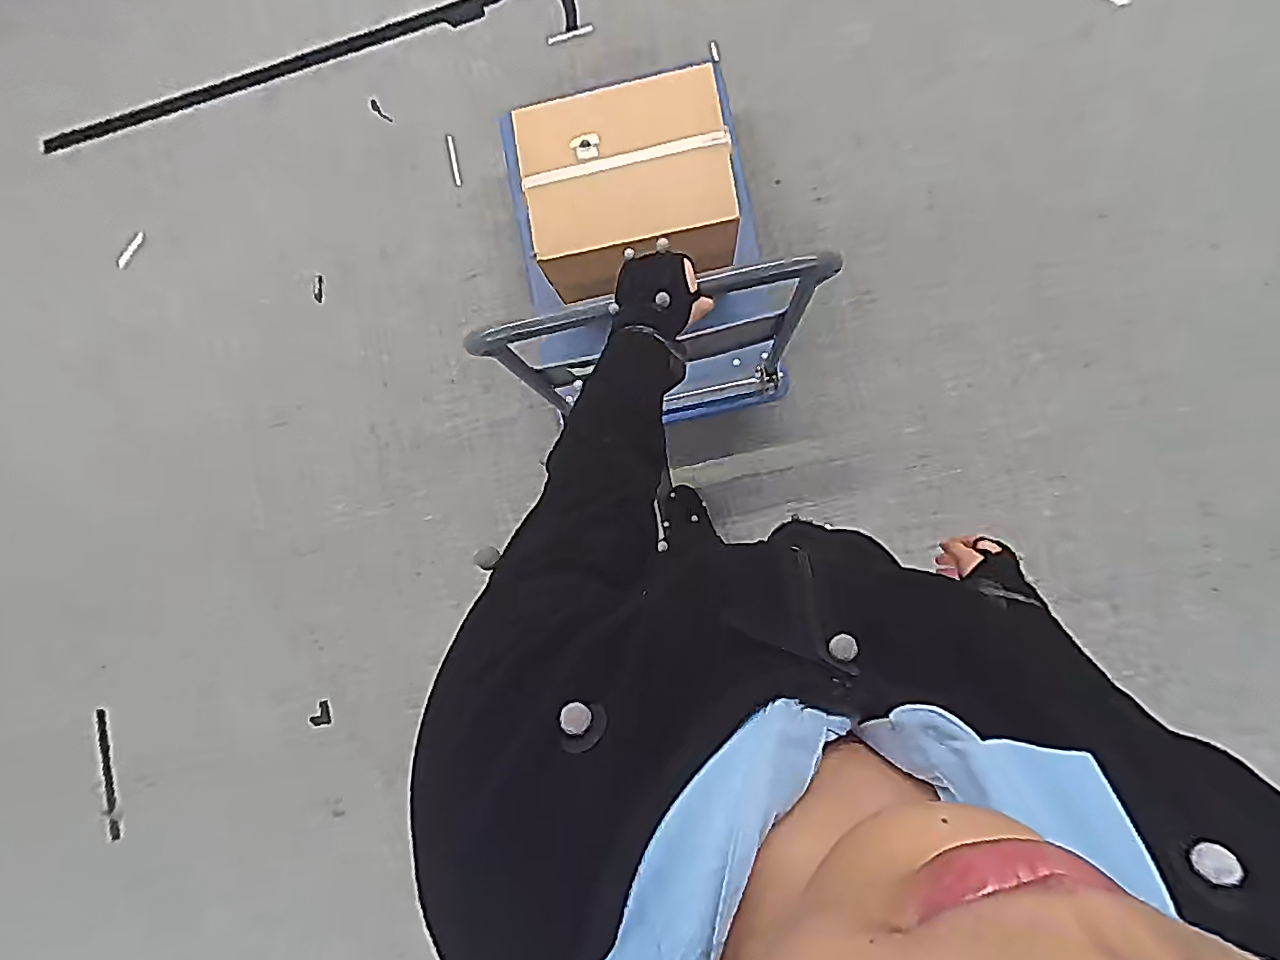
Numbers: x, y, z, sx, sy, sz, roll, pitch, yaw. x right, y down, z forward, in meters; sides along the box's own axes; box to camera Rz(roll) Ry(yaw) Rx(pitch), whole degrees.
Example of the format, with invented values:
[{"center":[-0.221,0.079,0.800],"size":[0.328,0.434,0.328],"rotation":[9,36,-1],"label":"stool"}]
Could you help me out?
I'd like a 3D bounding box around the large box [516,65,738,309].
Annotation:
[{"center":[-0.012,-0.617,1.209],"size":[0.408,0.320,0.320],"rotation":[-10,86,7],"label":"large box"}]
